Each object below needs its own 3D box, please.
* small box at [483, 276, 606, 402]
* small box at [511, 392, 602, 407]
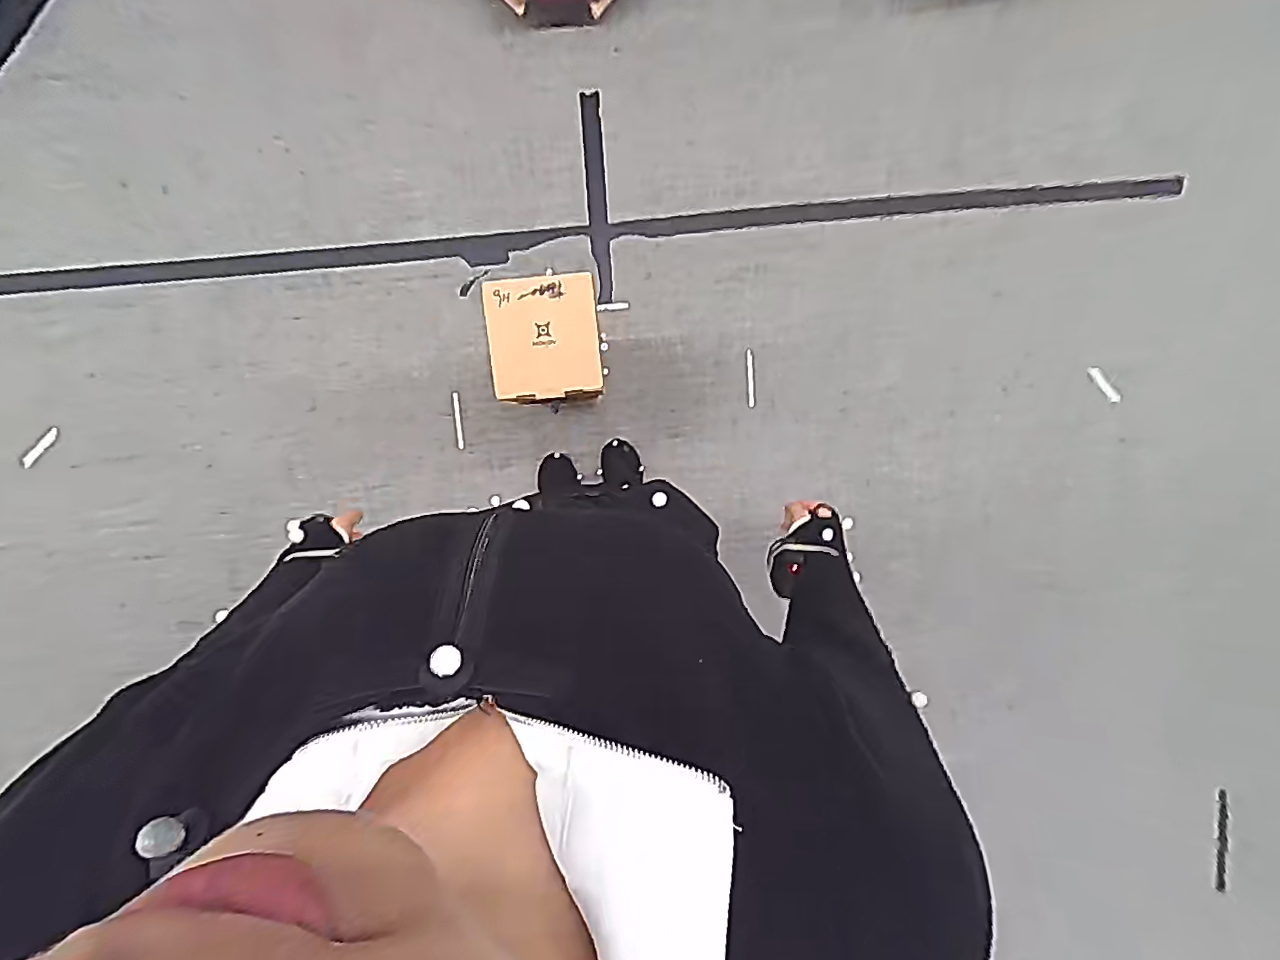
[{"bbox_3d":[-0.146,-0.222,0.887,0.168,0.176,0.179,-5,98,-2],"label":"small box"},{"bbox_3d":[-0.159,-0.233,1.051,0.168,0.176,0.179,-2,98,-2],"label":"small box"}]
